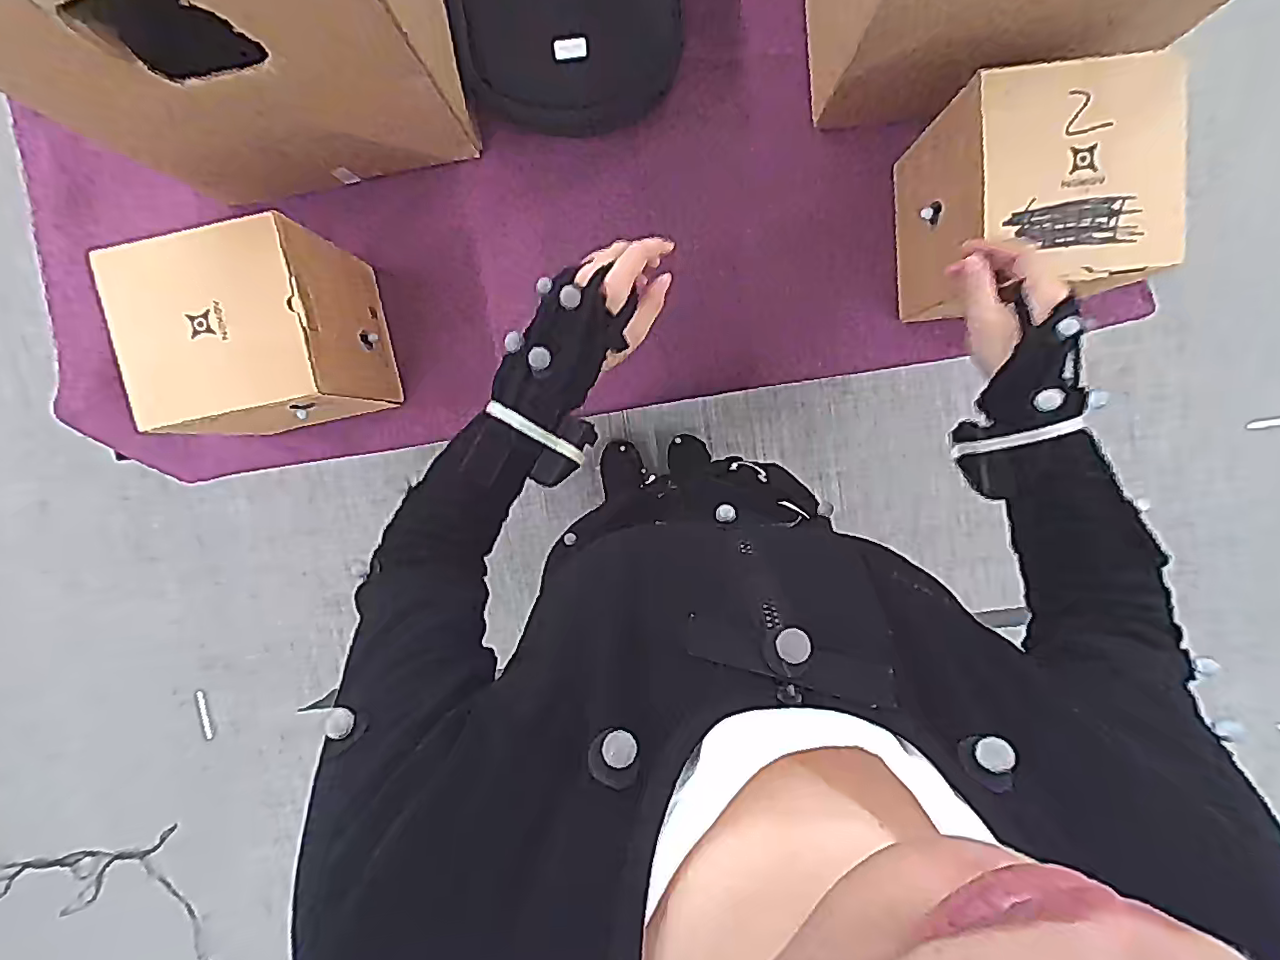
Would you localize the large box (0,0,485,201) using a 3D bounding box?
[{"bbox_3d":[-0.363,-0.524,0.457,0.320,0.320,0.408,-11,98,3],"label":"large box"}]

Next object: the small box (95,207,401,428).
[{"bbox_3d":[-0.386,-0.151,0.565,0.179,0.176,0.168,-12,94,2],"label":"small box"}]
